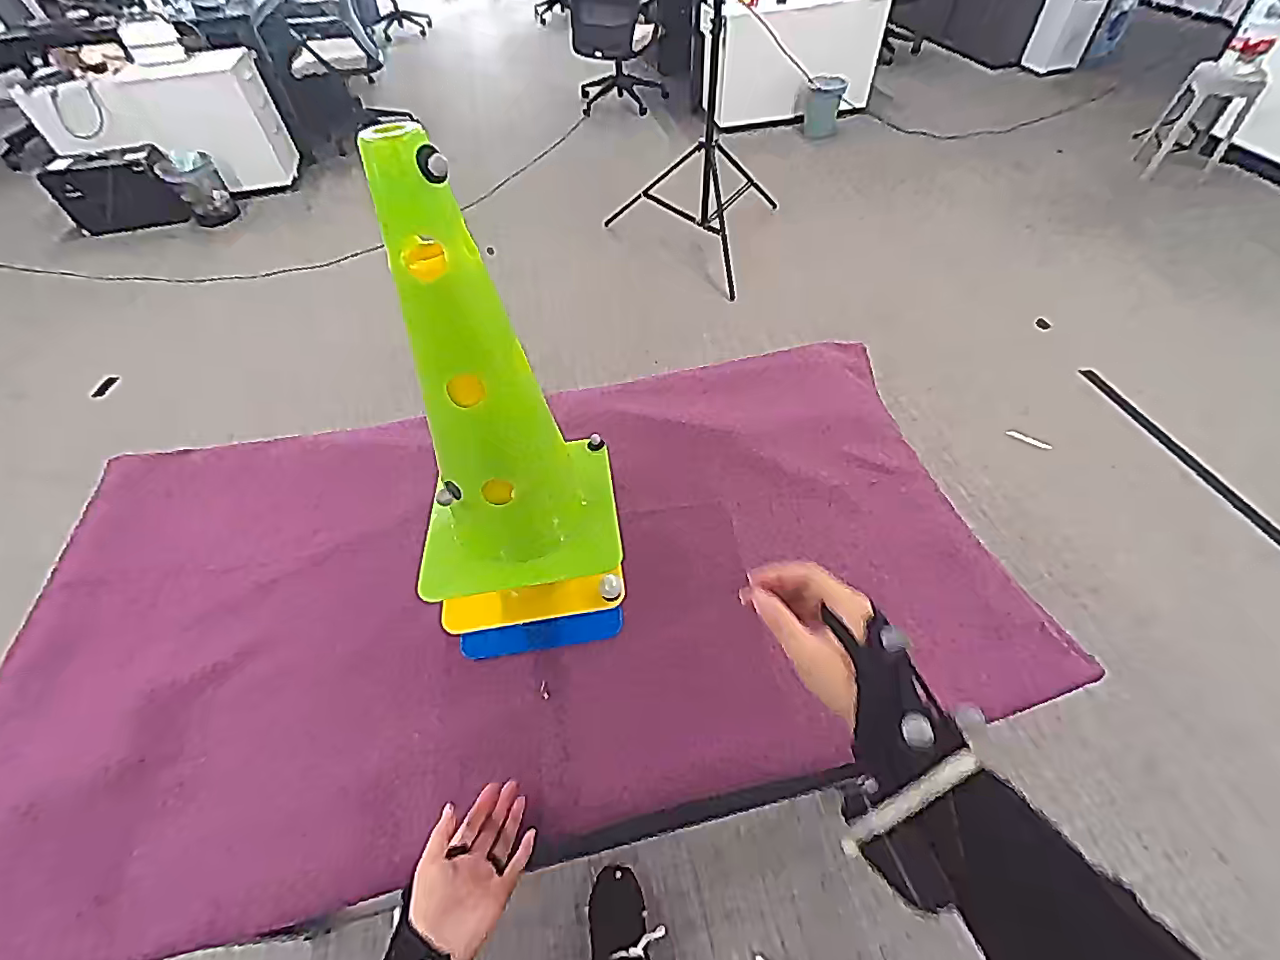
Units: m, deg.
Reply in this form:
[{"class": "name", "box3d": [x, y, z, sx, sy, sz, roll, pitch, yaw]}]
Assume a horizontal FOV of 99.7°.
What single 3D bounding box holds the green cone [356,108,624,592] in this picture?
[{"class": "green cone", "box3d": [-0.141, -0.096, 0.458, 0.200, 0.368, 0.202, -10, 45, -2]}]
